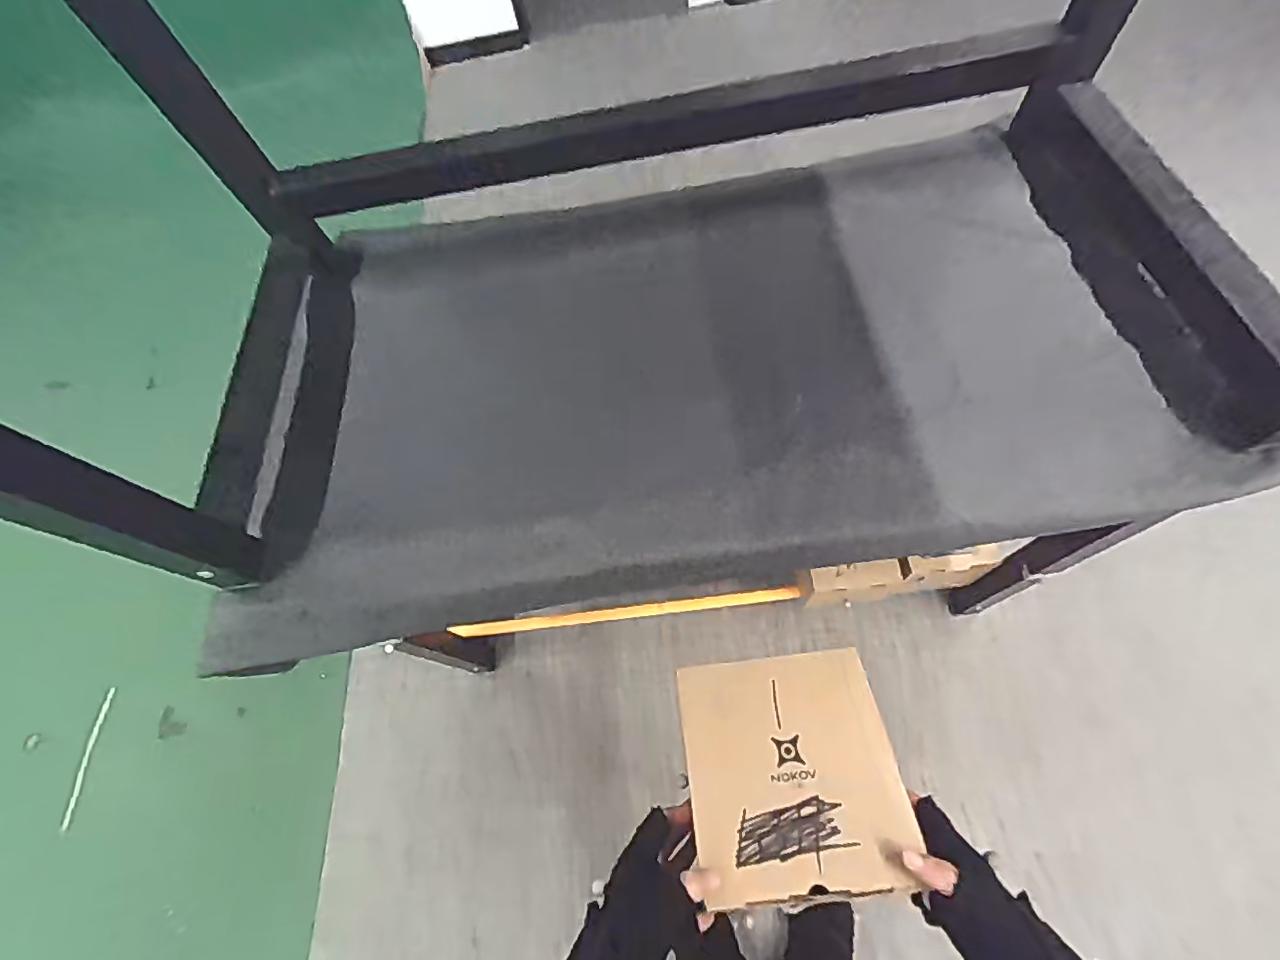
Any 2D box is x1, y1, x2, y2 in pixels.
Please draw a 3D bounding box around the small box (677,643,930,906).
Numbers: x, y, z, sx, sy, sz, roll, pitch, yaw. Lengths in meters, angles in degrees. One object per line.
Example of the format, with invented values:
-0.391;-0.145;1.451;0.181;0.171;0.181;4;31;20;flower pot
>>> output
0.130;0.274;0.494;0.168;0.176;0.179;-8;48;4;small box
